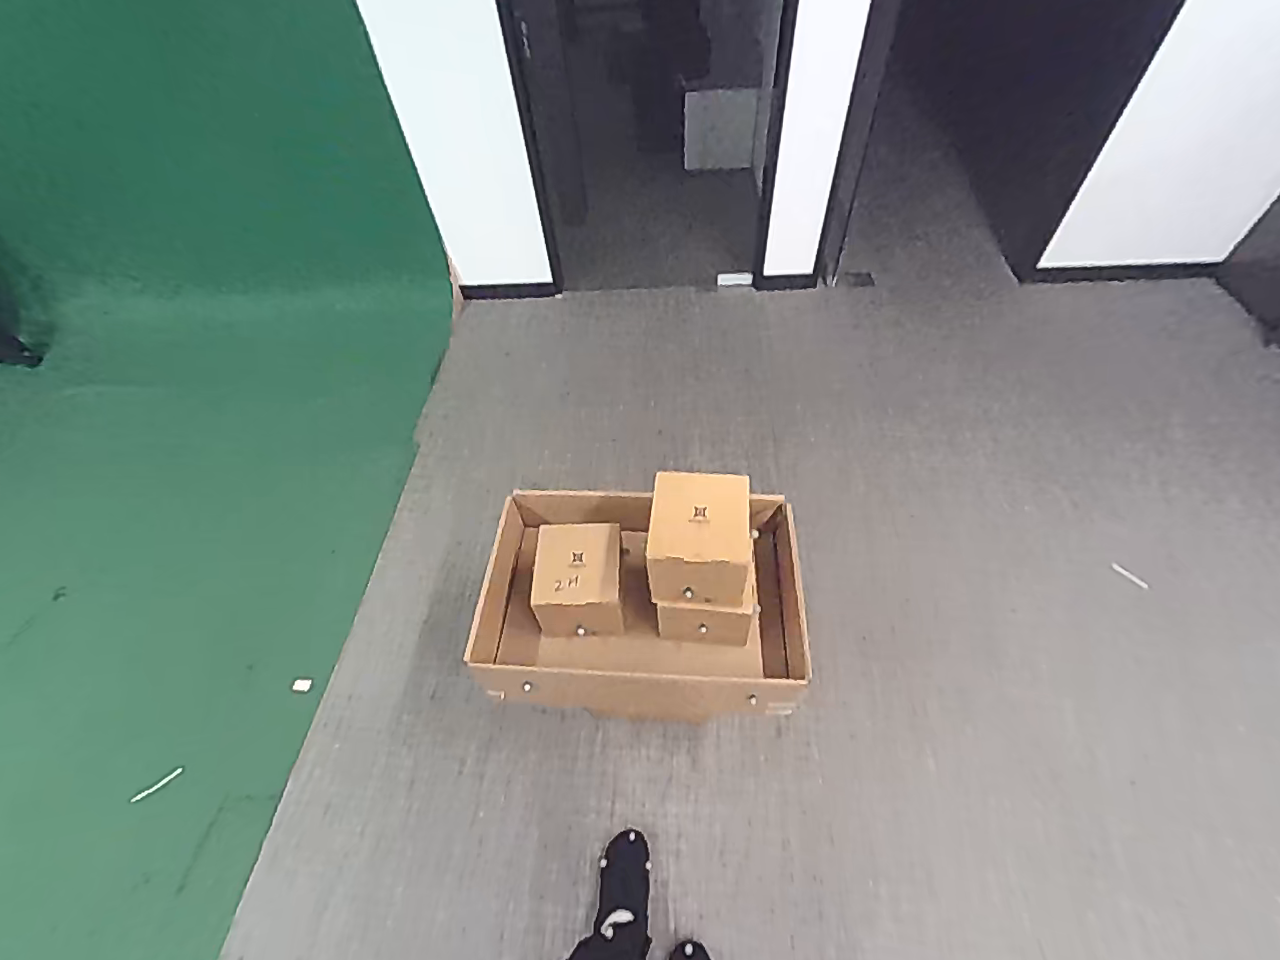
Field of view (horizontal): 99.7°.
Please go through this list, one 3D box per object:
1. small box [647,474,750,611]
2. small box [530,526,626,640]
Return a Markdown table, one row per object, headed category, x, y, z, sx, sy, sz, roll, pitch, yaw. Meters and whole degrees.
| category | x | y | z | sx | sy | sz | roll | pitch | yaw |
| --- | --- | --- | --- | --- | --- | --- | --- | --- | --- |
| small box | 0.105 | 0.112 | 0.965 | 0.168 | 0.176 | 0.179 | 3 | 52 | 7 |
| small box | -0.118 | 0.211 | 1.106 | 0.168 | 0.176 | 0.179 | -1 | 52 | 2 |
